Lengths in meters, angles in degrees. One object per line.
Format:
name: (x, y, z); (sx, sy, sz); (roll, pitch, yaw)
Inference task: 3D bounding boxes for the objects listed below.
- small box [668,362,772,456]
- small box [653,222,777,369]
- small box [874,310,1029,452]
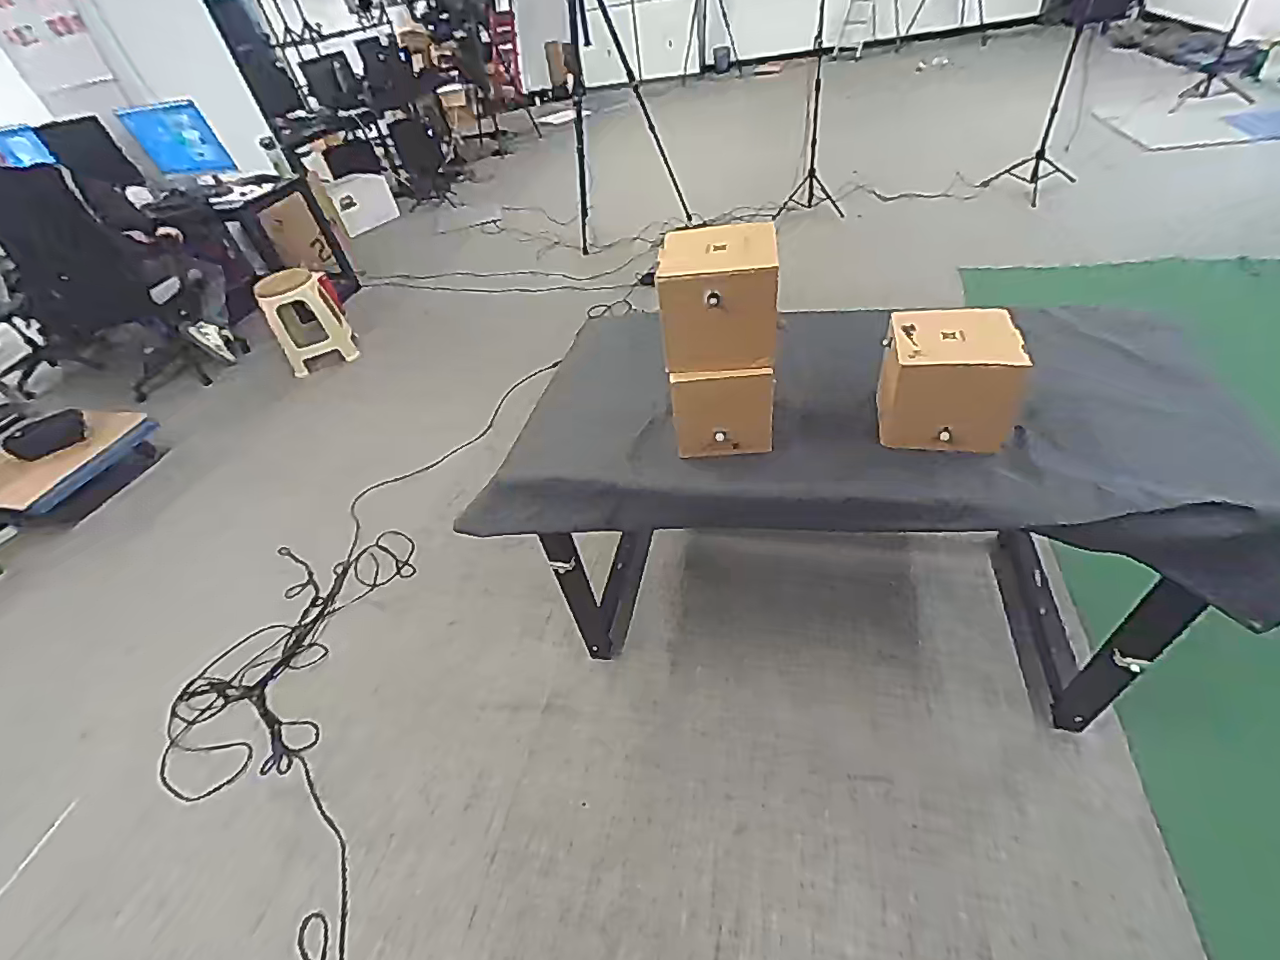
small box: (0.141, -0.163, 0.967); (0.168, 0.176, 0.179); (-4, 44, 8)
small box: (0.125, -0.290, 0.865); (0.179, 0.176, 0.168); (0, 46, 10)
small box: (0.497, -0.162, 0.894); (0.179, 0.176, 0.168); (5, 45, 15)
